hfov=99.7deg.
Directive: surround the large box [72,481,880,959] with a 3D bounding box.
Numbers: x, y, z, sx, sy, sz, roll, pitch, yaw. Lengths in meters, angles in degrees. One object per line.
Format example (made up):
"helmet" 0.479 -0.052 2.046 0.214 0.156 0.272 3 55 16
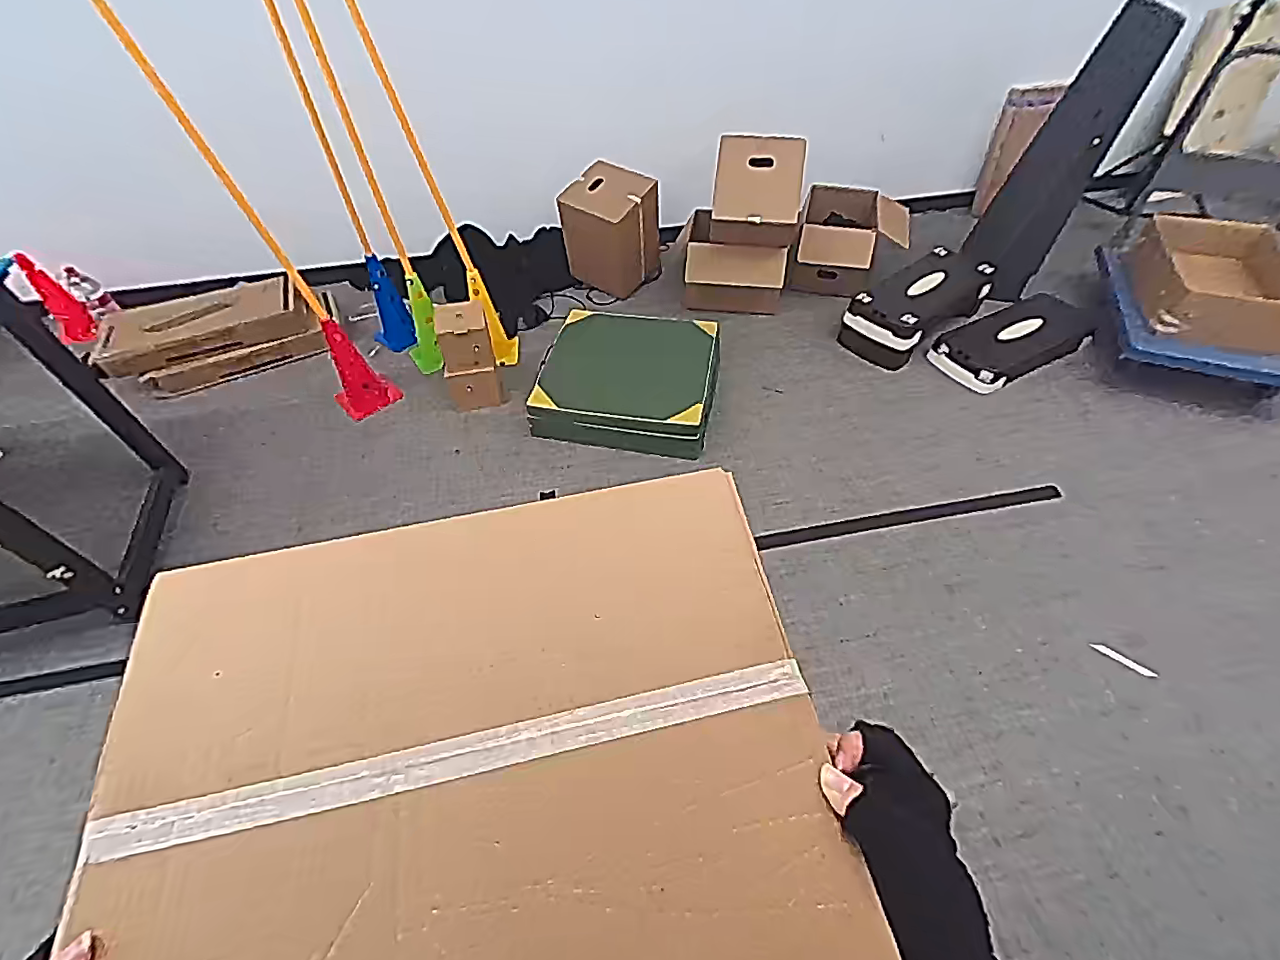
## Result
"large box" -0.099 0.240 0.448 0.408 0.320 0.320 -11 59 -5
